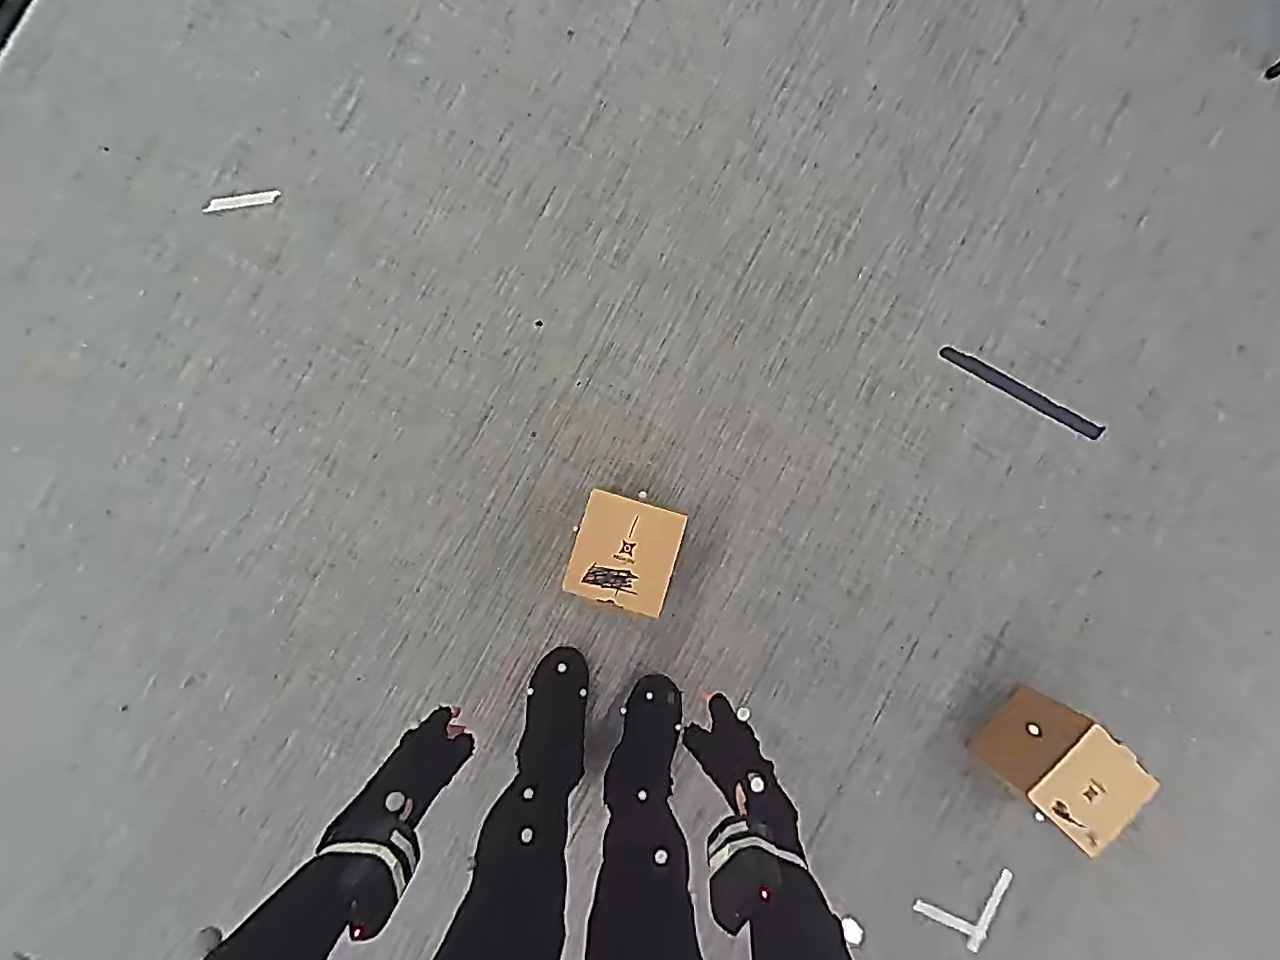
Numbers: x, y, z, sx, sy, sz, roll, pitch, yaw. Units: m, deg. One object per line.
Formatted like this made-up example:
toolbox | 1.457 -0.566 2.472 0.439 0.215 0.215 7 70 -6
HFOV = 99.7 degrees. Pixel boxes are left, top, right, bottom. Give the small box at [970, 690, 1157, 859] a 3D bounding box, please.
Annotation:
small box | 0.762 0.524 0.993 0.168 0.176 0.179 44 88 -2

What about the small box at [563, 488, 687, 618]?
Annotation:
small box | -0.025 0.120 0.960 0.168 0.176 0.179 17 88 -2
